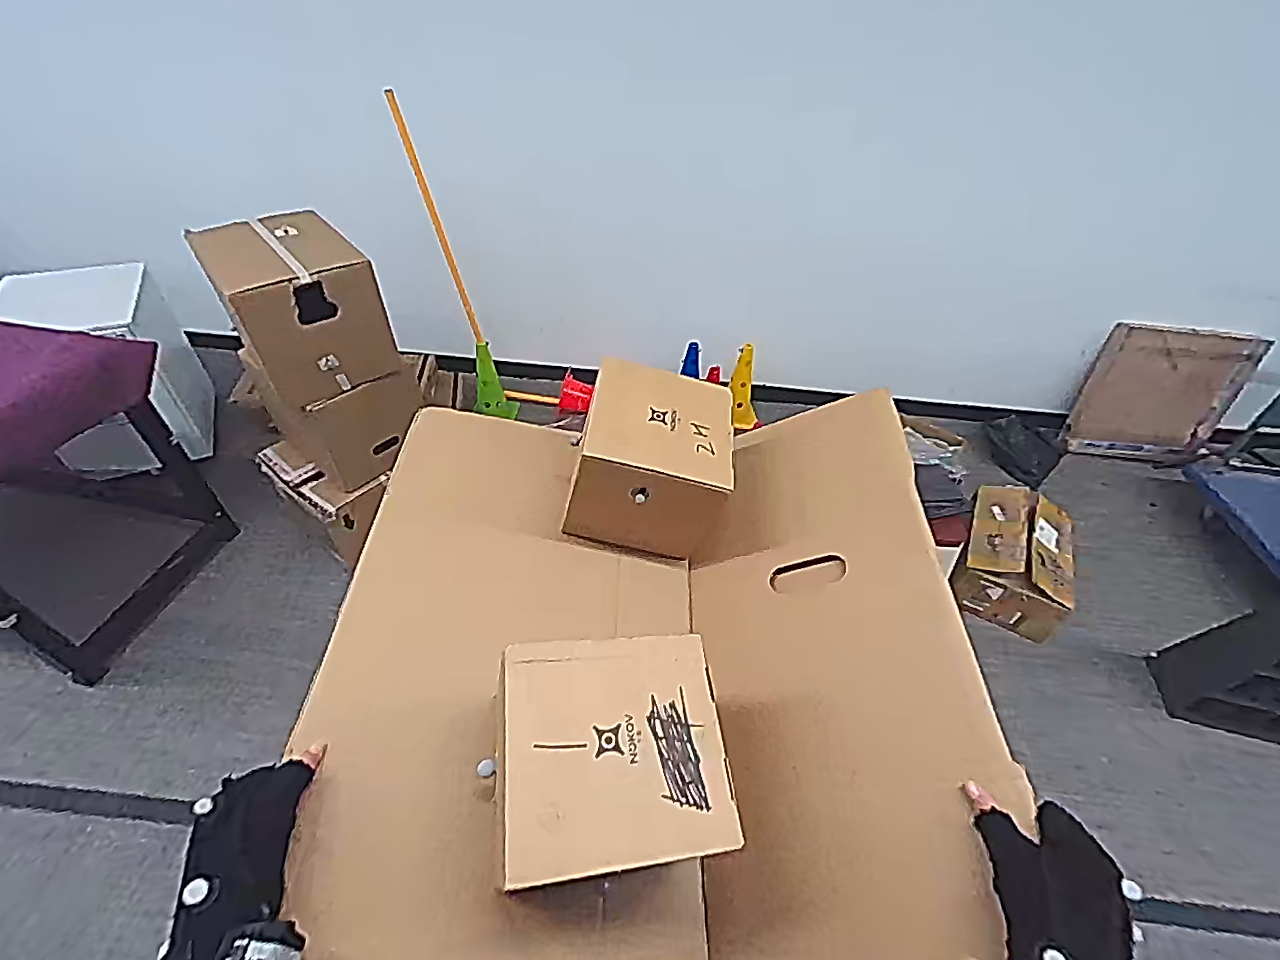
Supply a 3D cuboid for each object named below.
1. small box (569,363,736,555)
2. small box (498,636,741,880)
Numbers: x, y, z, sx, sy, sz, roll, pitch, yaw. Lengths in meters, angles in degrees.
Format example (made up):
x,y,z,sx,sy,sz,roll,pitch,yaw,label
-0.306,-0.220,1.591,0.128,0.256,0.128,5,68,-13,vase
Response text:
x,y,z,sx,sy,sz,roll,pitch,yaw,label
0.012,-0.020,0.711,0.179,0.176,0.168,15,53,-8,small box
-0.034,0.252,0.496,0.179,0.176,0.168,2,54,-16,small box
